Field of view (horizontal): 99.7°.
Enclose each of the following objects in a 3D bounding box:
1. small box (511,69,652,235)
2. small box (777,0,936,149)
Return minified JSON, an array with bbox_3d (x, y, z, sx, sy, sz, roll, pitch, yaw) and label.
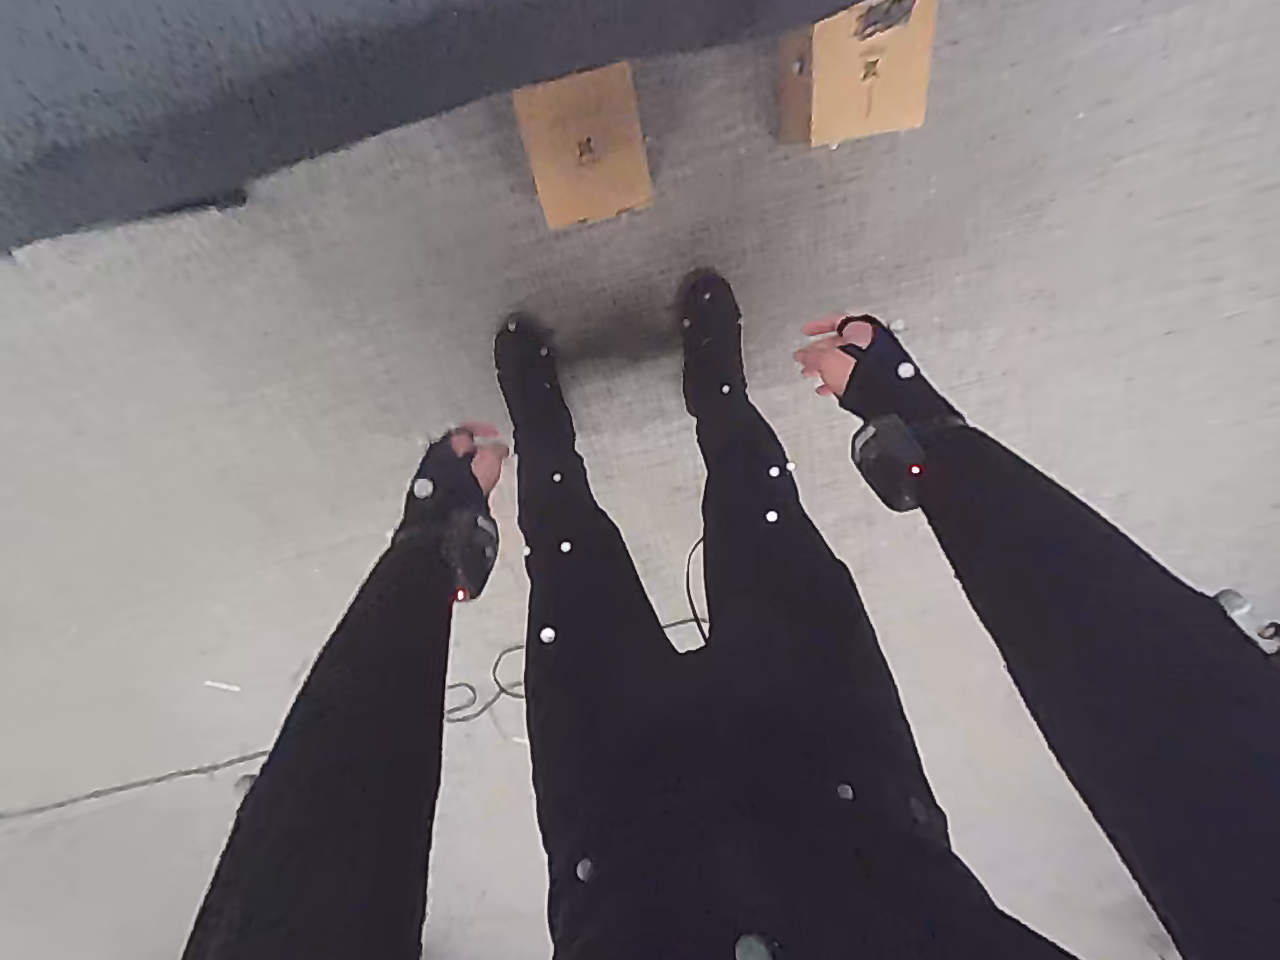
[{"bbox_3d":[-0.082,-0.500,0.839,0.168,0.176,0.179,-14,119,3],"label":"small box"},{"bbox_3d":[0.305,-0.602,0.796,0.168,0.176,0.179,-10,122,3],"label":"small box"}]
